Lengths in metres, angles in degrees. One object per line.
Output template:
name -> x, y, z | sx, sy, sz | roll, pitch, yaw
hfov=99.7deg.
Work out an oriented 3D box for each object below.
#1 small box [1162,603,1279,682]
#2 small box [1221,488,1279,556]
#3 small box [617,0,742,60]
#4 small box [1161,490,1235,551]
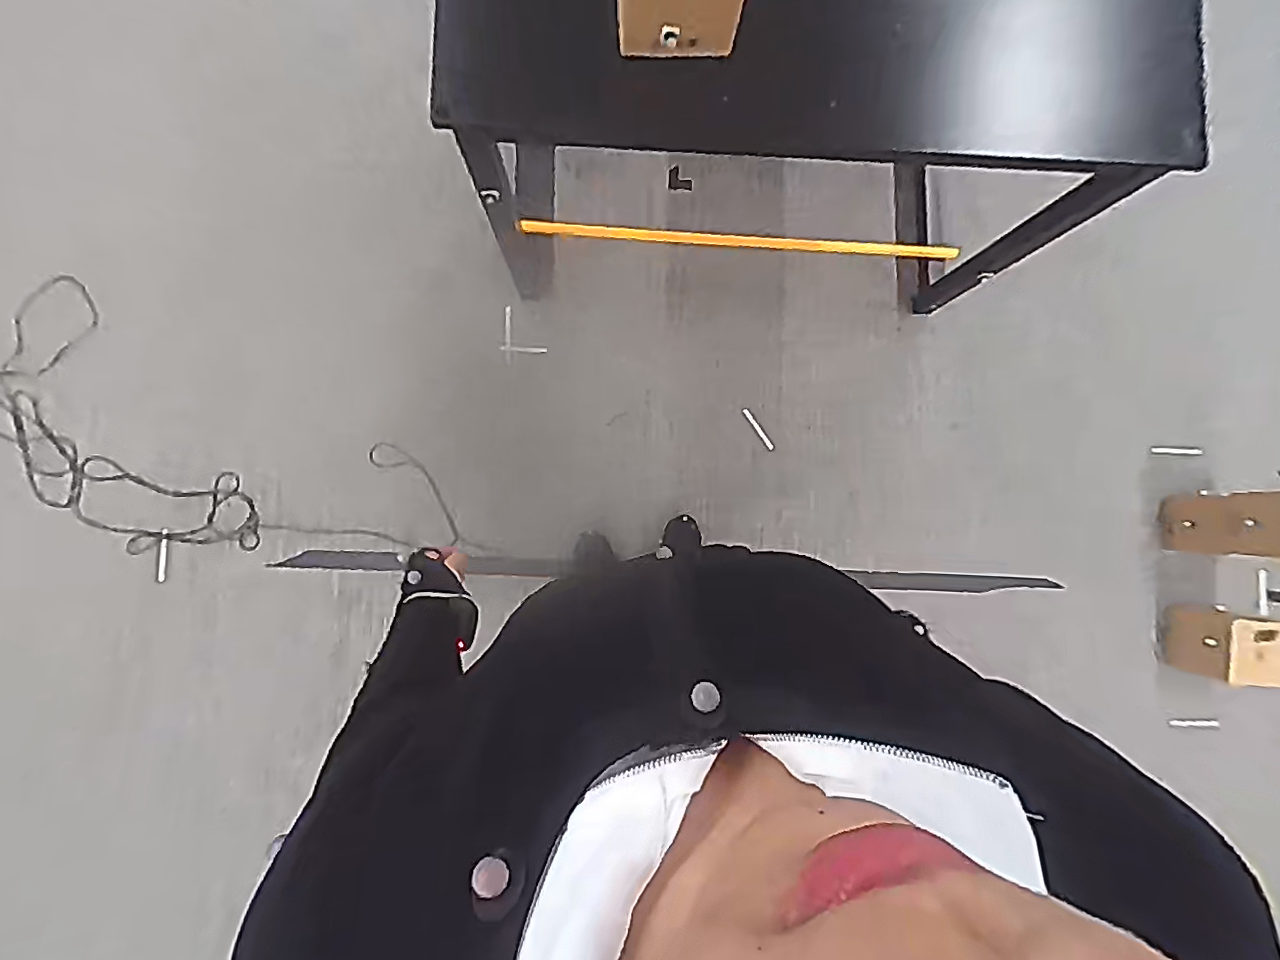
small box -> 1.629, 0.449, 1.521 | 0.168, 0.176, 0.179 | 4, 89, -3
small box -> 1.649, 0.110, 1.367 | 0.179, 0.176, 0.168 | 6, 87, -3
small box -> 0.050, -0.723, 0.737 | 0.168, 0.176, 0.179 | -5, 89, -3
small box -> 1.635, 0.115, 1.533 | 0.179, 0.176, 0.168 | 1, 87, -3
